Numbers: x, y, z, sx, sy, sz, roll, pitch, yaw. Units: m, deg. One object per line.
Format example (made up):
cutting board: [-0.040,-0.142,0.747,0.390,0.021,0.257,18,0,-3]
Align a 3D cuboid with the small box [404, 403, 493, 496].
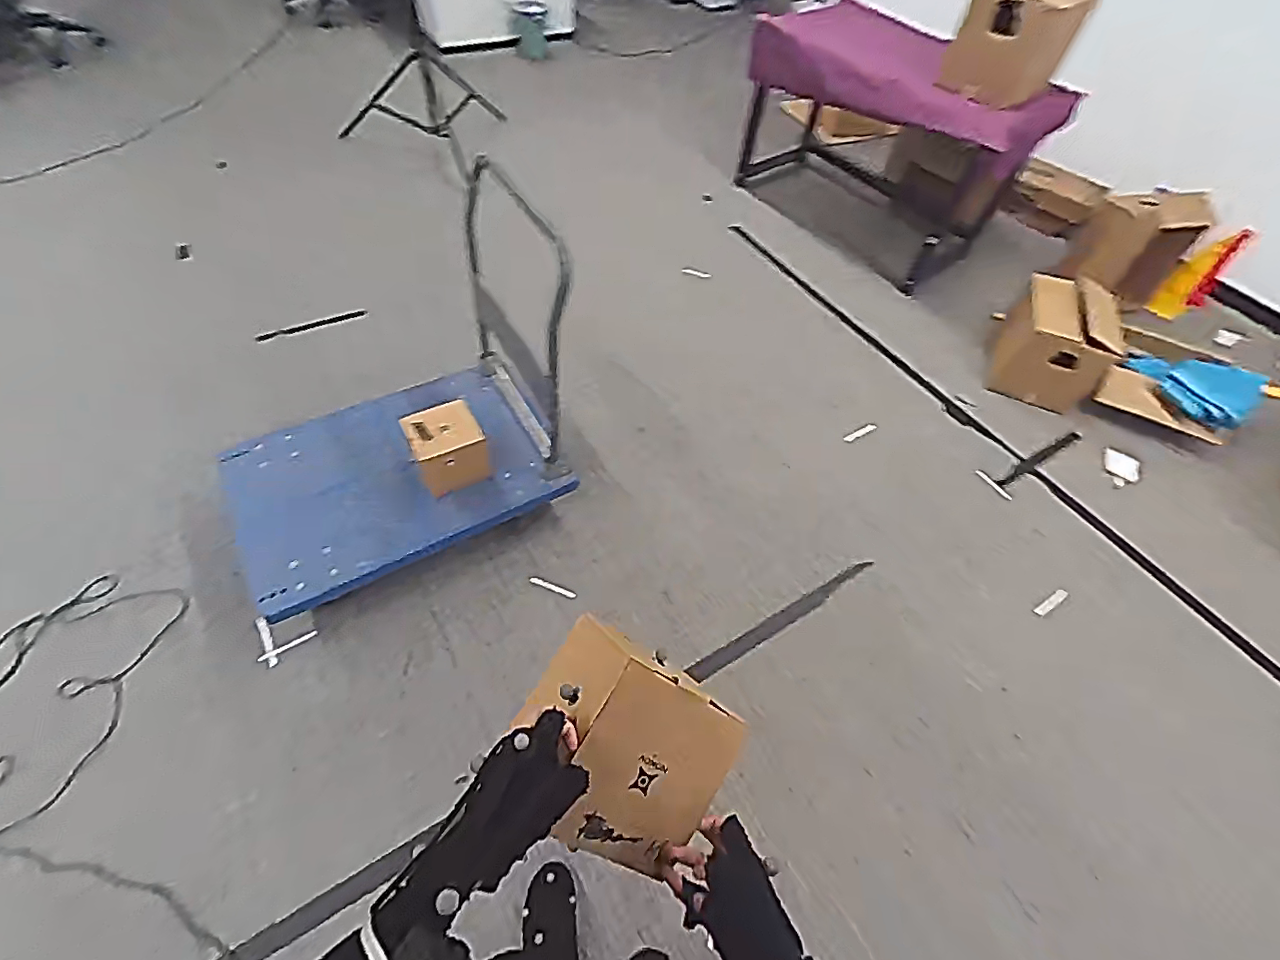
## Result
small box: [-0.529,-0.081,1.511,0.179,0.176,0.168,-22,60,-21]

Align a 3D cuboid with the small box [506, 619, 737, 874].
small box: [-0.031,0.280,0.605,0.168,0.176,0.179,35,78,-19]
